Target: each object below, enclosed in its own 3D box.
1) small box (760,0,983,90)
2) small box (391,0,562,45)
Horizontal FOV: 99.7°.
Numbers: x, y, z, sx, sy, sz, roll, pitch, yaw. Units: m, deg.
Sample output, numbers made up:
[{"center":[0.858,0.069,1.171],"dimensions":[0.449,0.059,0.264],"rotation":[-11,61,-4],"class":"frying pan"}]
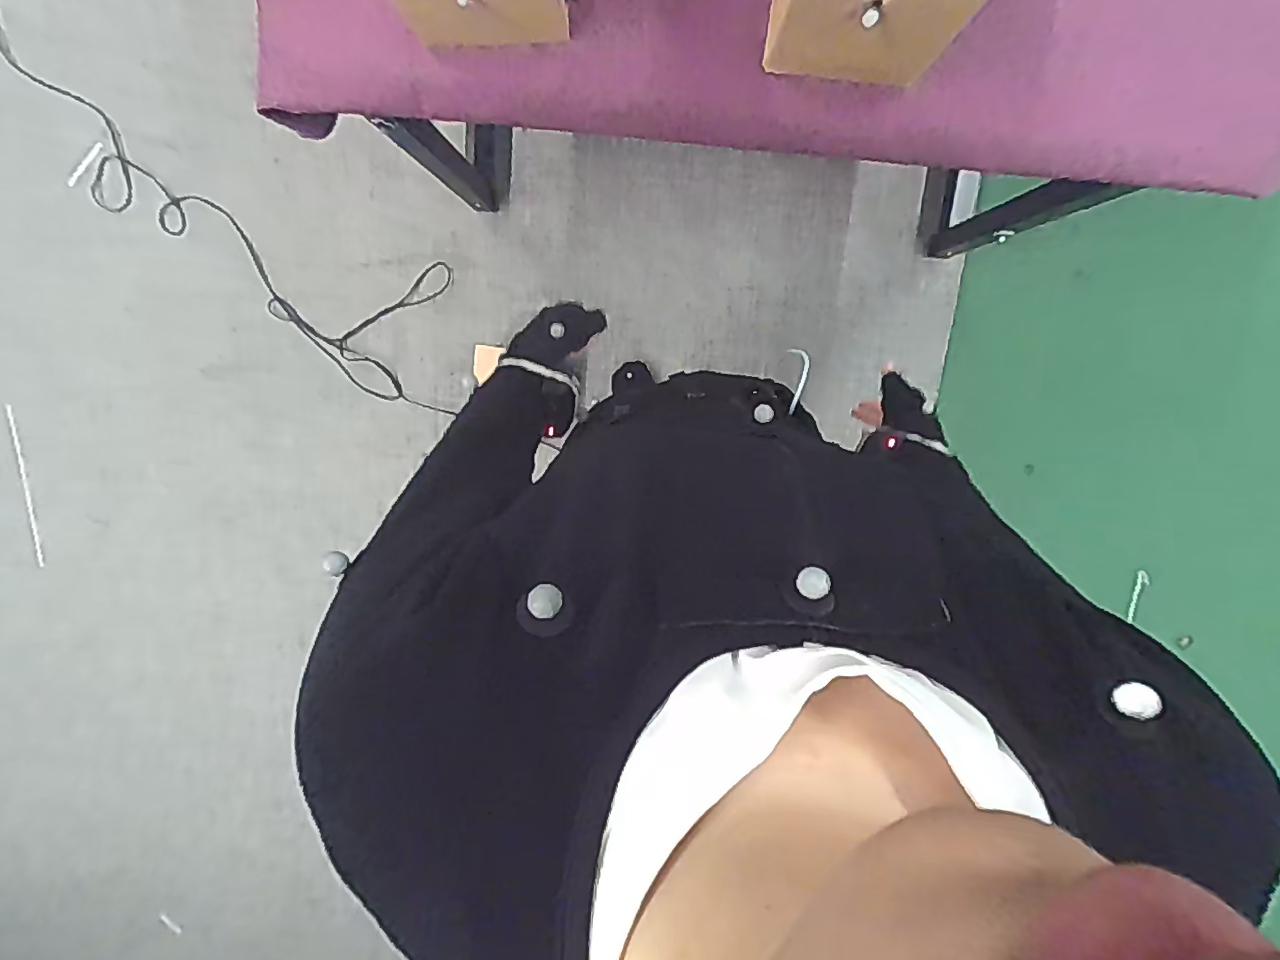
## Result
[{"center":[0.234,-0.531,0.547],"dimensions":[0.179,0.176,0.168],"rotation":[7,101,0],"class":"small box"},{"center":[-0.174,-0.574,0.539],"dimensions":[0.179,0.176,0.168],"rotation":[-1,101,1],"class":"small box"}]
